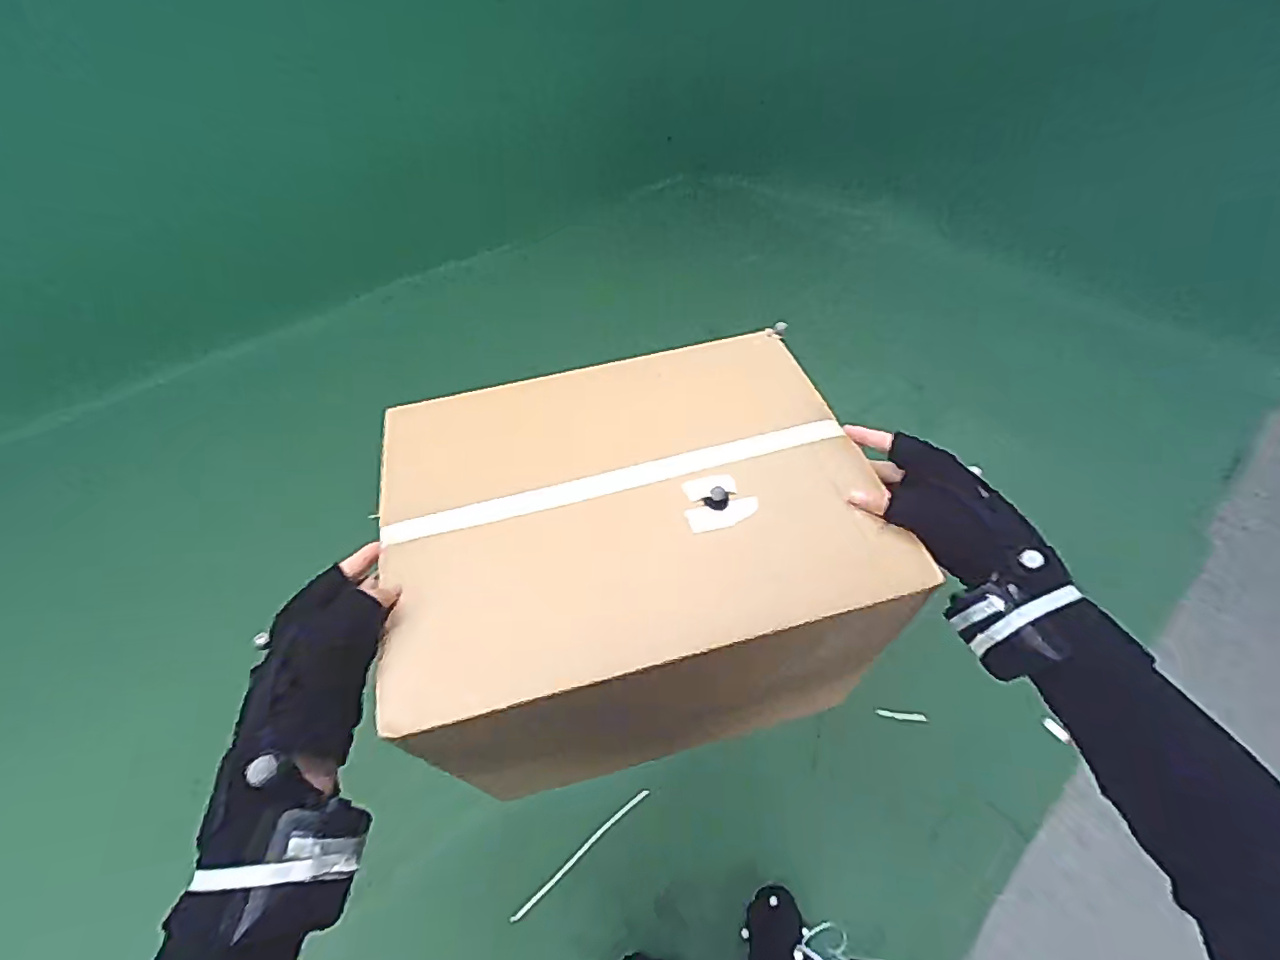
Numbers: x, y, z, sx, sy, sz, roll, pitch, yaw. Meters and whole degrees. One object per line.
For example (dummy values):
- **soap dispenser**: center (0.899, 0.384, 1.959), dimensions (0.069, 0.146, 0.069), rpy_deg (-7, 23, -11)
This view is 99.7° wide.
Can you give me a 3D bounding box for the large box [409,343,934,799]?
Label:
- **large box**: center (0.003, 0.100, 0.592), dimensions (0.408, 0.320, 0.320), rpy_deg (-13, 53, -7)
